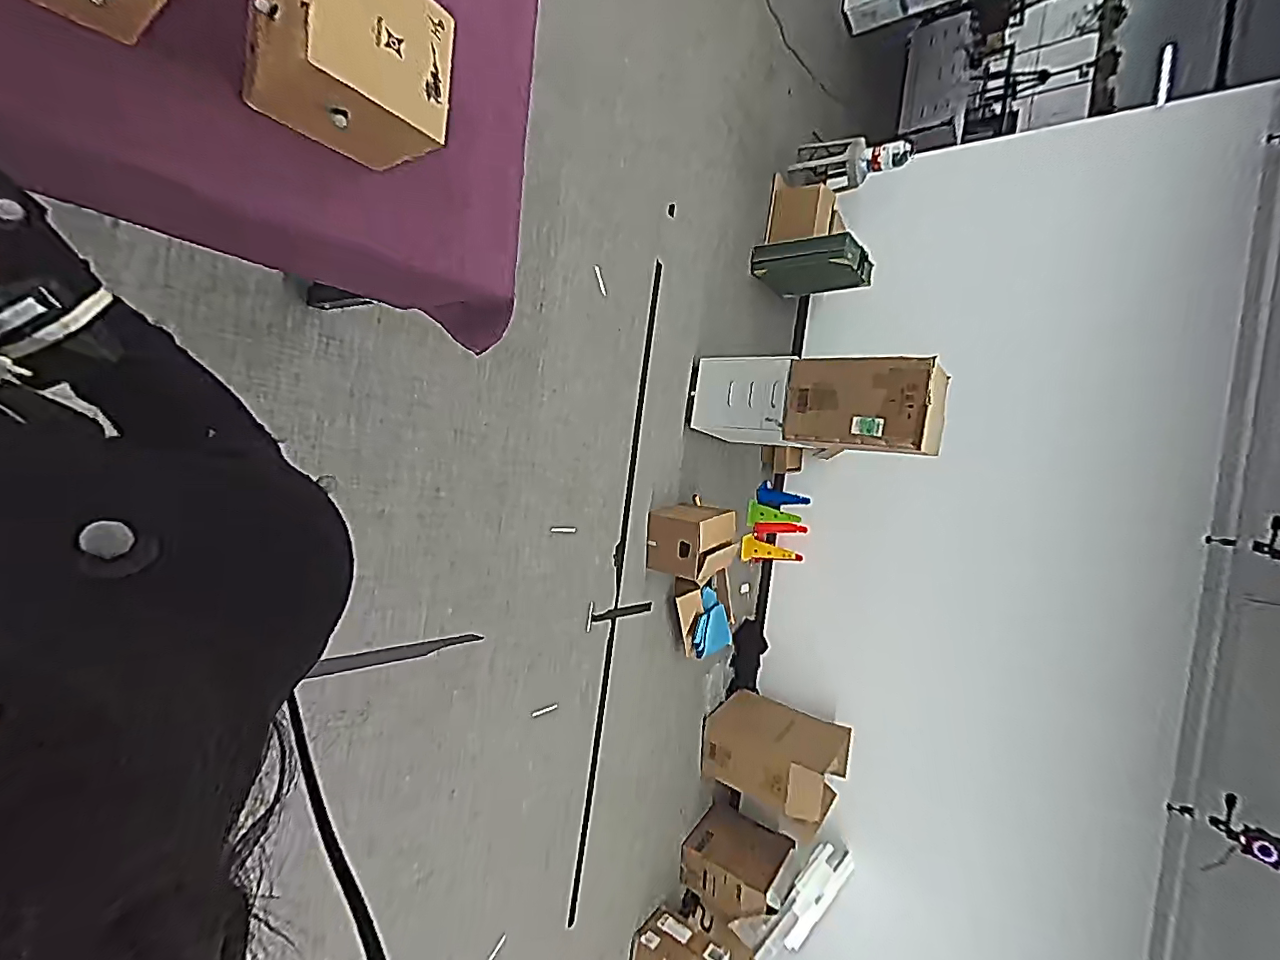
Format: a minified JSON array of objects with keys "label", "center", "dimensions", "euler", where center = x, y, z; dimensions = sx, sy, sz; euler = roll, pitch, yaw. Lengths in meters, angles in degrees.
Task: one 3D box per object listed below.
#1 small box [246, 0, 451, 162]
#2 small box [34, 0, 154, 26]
[{"label":"small box","center":[-0.370,-0.538,0.688],"dimensions":[0.179,0.176,0.168],"euler":[2,95,-55]},{"label":"small box","center":[-0.528,-0.538,0.458],"dimensions":[0.179,0.176,0.168],"euler":[-6,100,-54]}]
